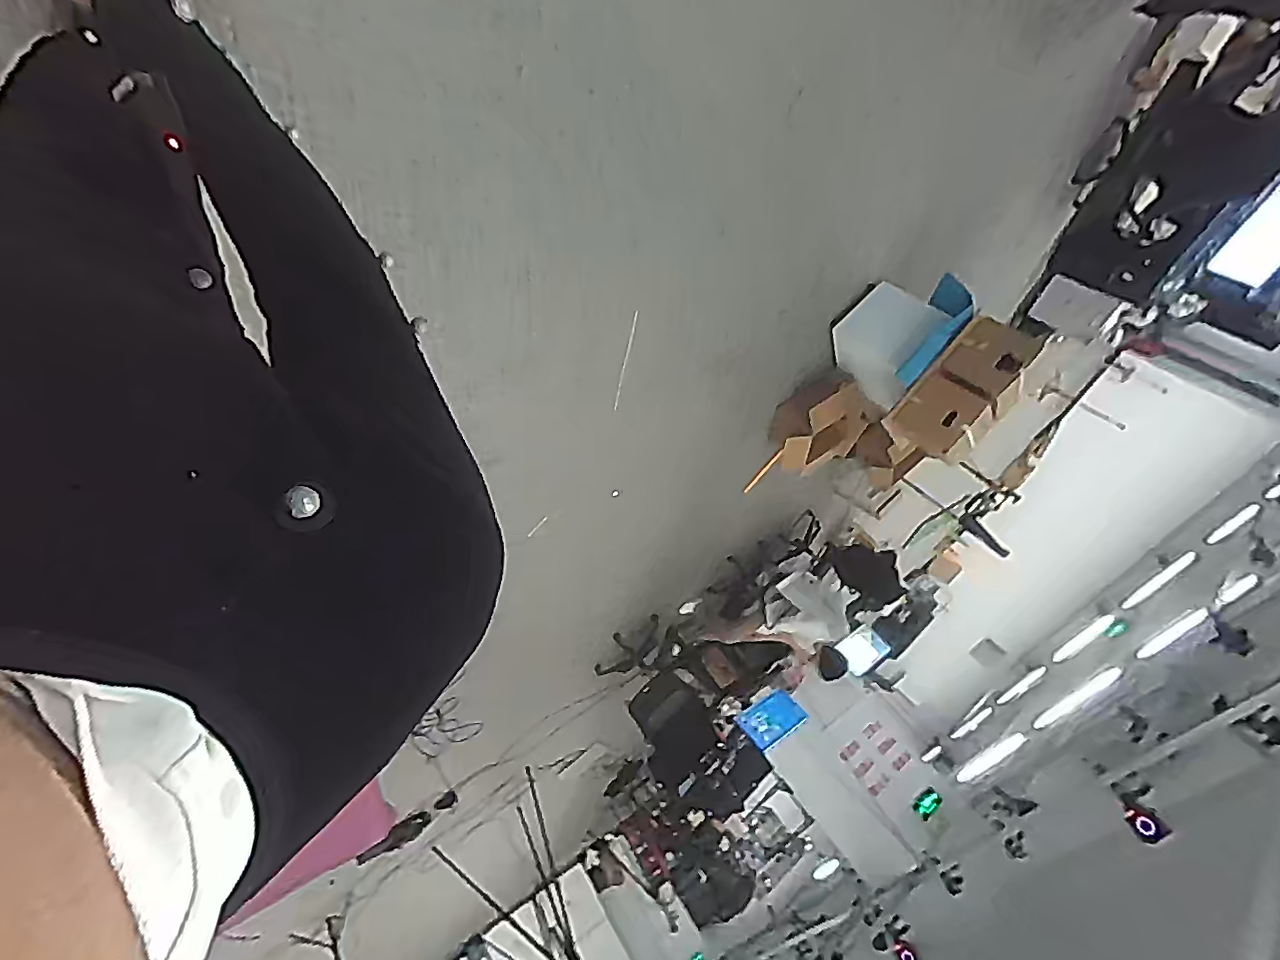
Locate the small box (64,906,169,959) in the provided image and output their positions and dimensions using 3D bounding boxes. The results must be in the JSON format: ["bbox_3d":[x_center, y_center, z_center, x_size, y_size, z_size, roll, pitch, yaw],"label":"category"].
[{"bbox_3d":[-1.350,1.258,1.402,0.168,0.176,0.179,-16,140,-36],"label":"small box"}]
